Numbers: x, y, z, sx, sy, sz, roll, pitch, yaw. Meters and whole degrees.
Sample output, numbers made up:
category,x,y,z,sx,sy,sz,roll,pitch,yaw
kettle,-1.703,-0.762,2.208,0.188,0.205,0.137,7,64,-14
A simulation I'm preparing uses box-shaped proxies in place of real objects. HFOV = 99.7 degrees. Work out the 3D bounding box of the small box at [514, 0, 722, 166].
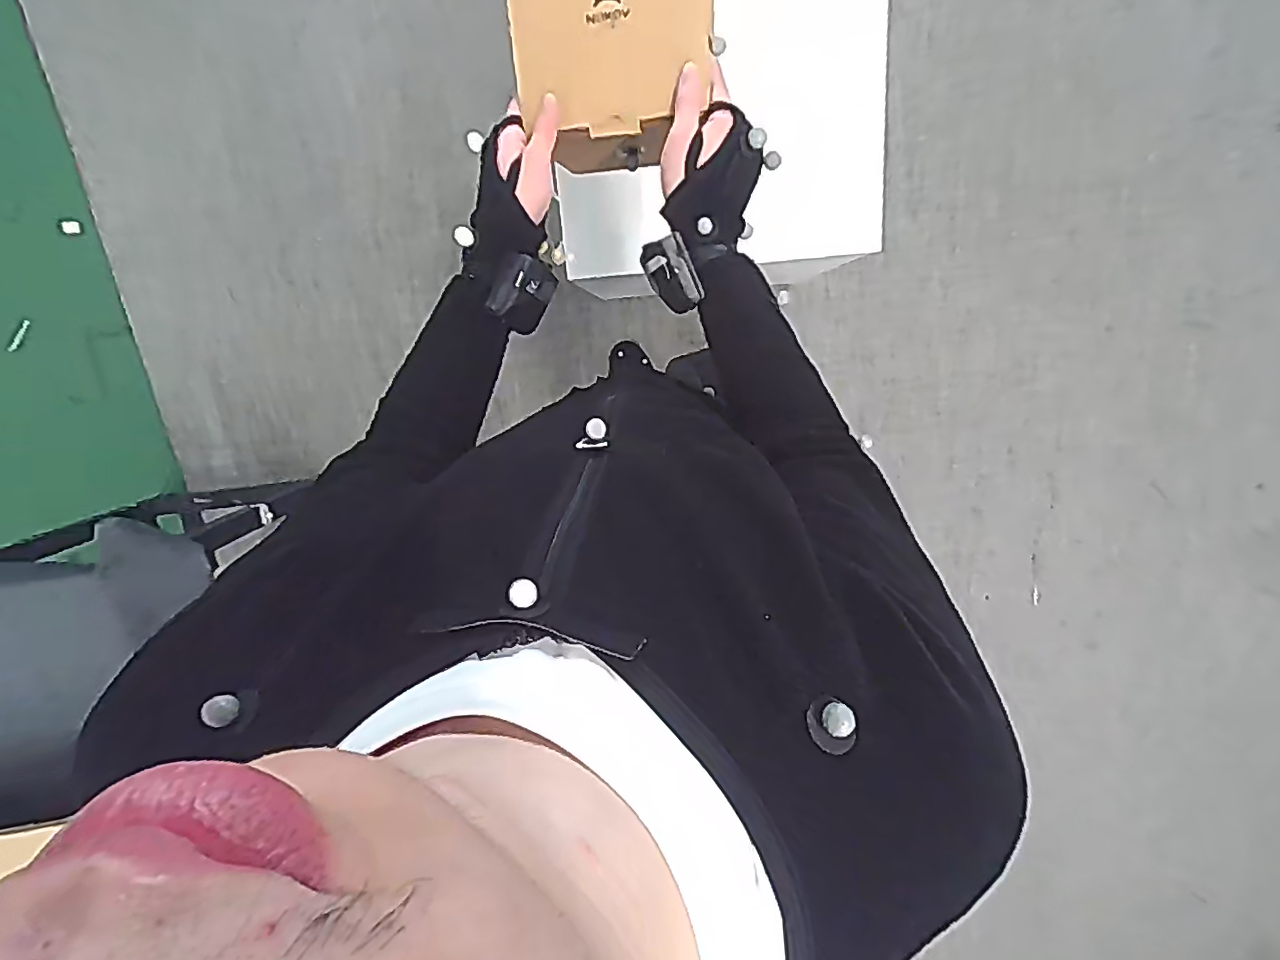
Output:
category,x,y,z,sx,sy,sz,roll,pitch,yaw
small box,-0.010,-0.415,0.513,0.168,0.176,0.179,-3,108,11
